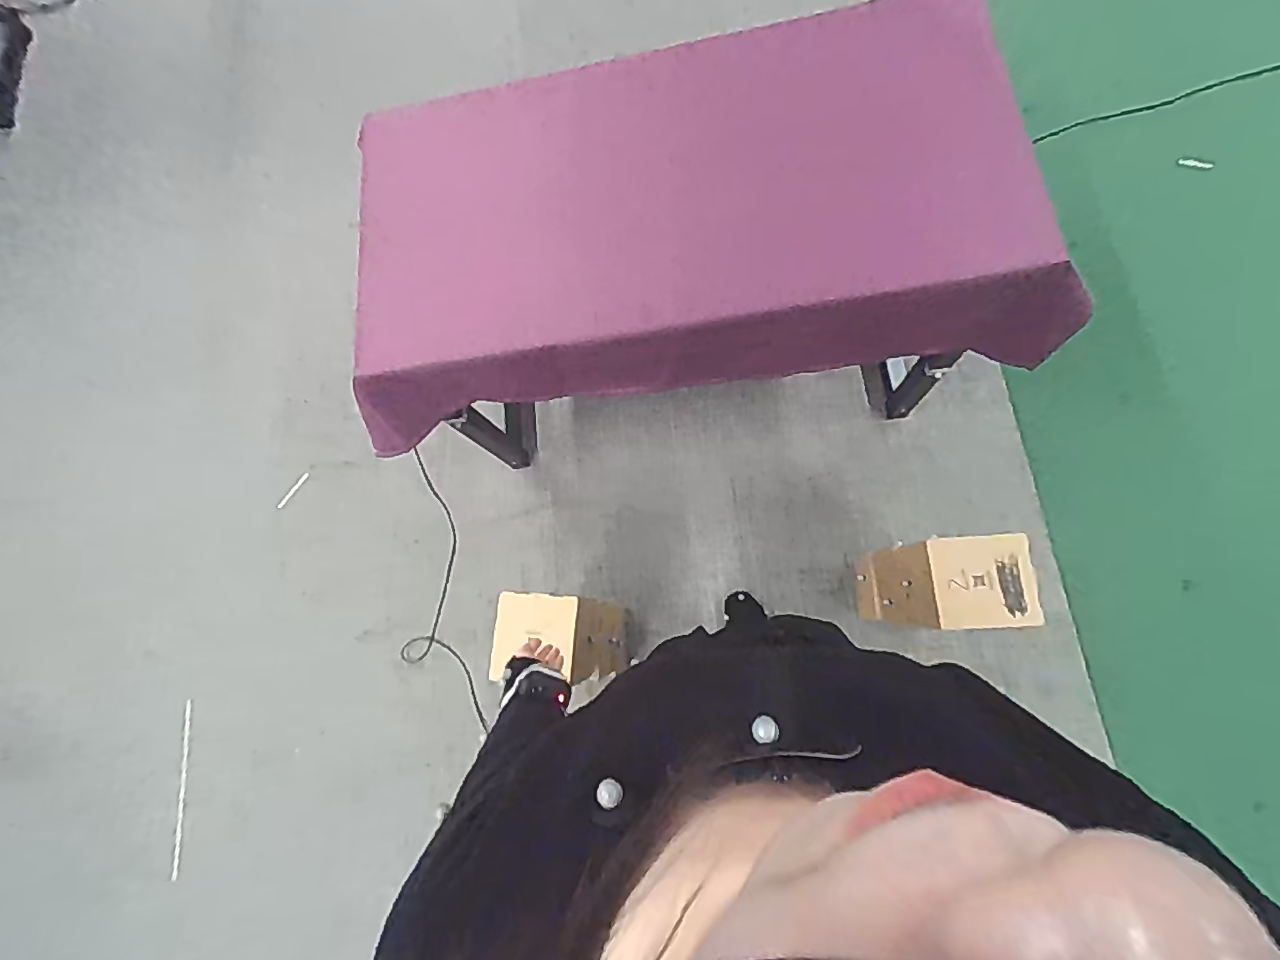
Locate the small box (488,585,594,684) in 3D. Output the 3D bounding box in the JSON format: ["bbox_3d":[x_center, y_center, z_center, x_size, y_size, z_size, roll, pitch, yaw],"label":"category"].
[{"bbox_3d":[-0.198,0.322,1.140,0.168,0.176,0.179,3,76,9],"label":"small box"}]

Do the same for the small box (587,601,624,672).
[{"bbox_3d":[-0.136,0.416,1.450,0.168,0.176,0.179,-4,75,7],"label":"small box"}]

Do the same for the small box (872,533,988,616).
[{"bbox_3d":[0.637,0.217,1.217,0.179,0.176,0.168,-6,77,6],"label":"small box"}]

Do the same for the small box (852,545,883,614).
[{"bbox_3d":[0.651,0.254,1.375,0.179,0.176,0.168,-3,76,7],"label":"small box"}]
